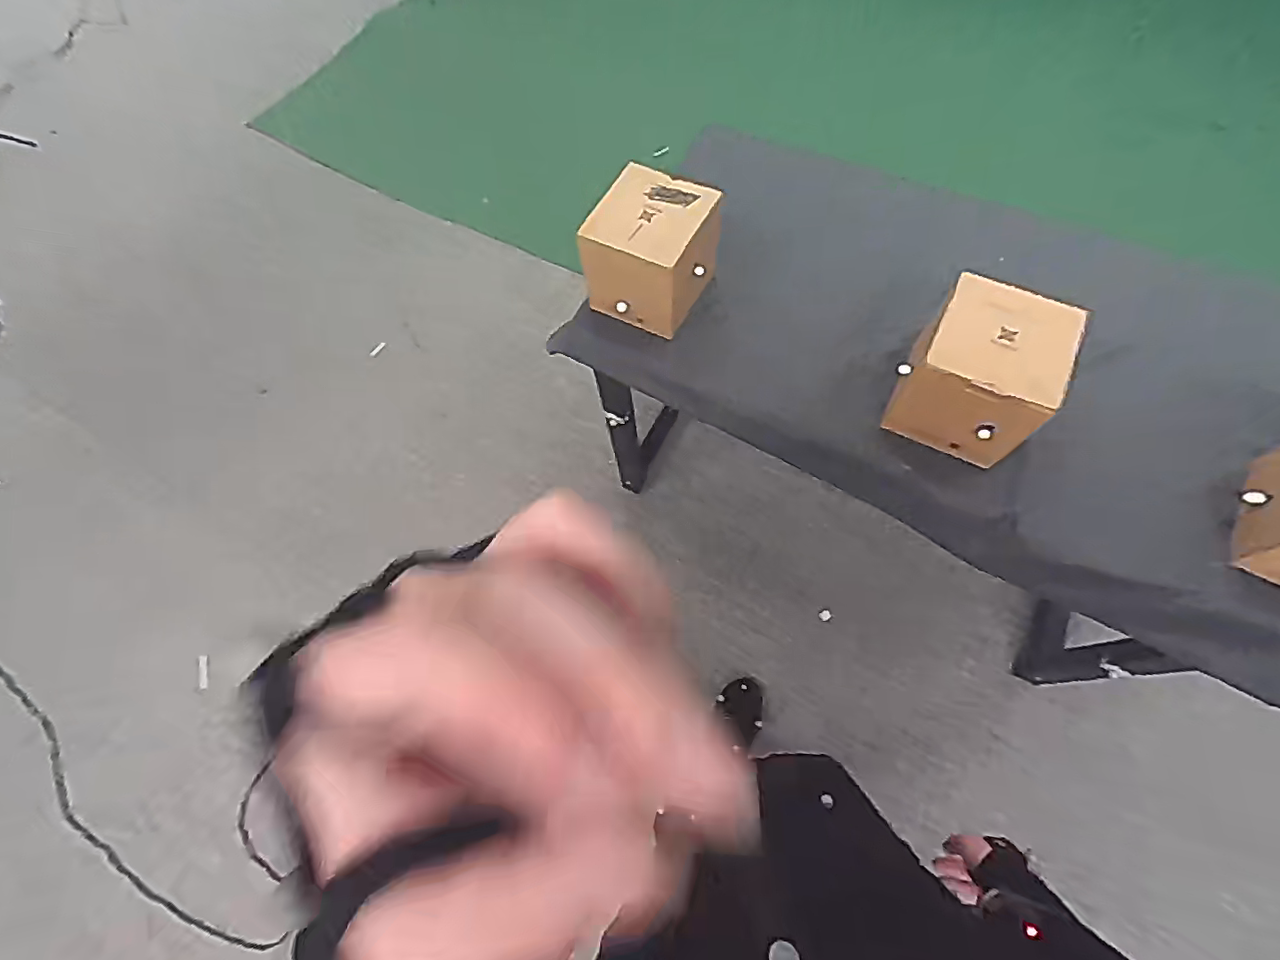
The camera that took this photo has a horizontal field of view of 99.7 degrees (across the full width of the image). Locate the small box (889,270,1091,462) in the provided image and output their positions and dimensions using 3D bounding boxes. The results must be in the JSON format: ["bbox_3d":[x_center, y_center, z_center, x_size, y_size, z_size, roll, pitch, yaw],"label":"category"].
[{"bbox_3d":[0.480,-0.152,0.767,0.168,0.176,0.179,26,69,13],"label":"small box"}]

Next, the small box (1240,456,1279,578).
[{"bbox_3d":[0.891,0.047,0.644,0.168,0.176,0.179,28,71,18],"label":"small box"}]

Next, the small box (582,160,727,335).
[{"bbox_3d":[0.026,-0.378,0.893,0.168,0.176,0.179,26,71,14],"label":"small box"}]
